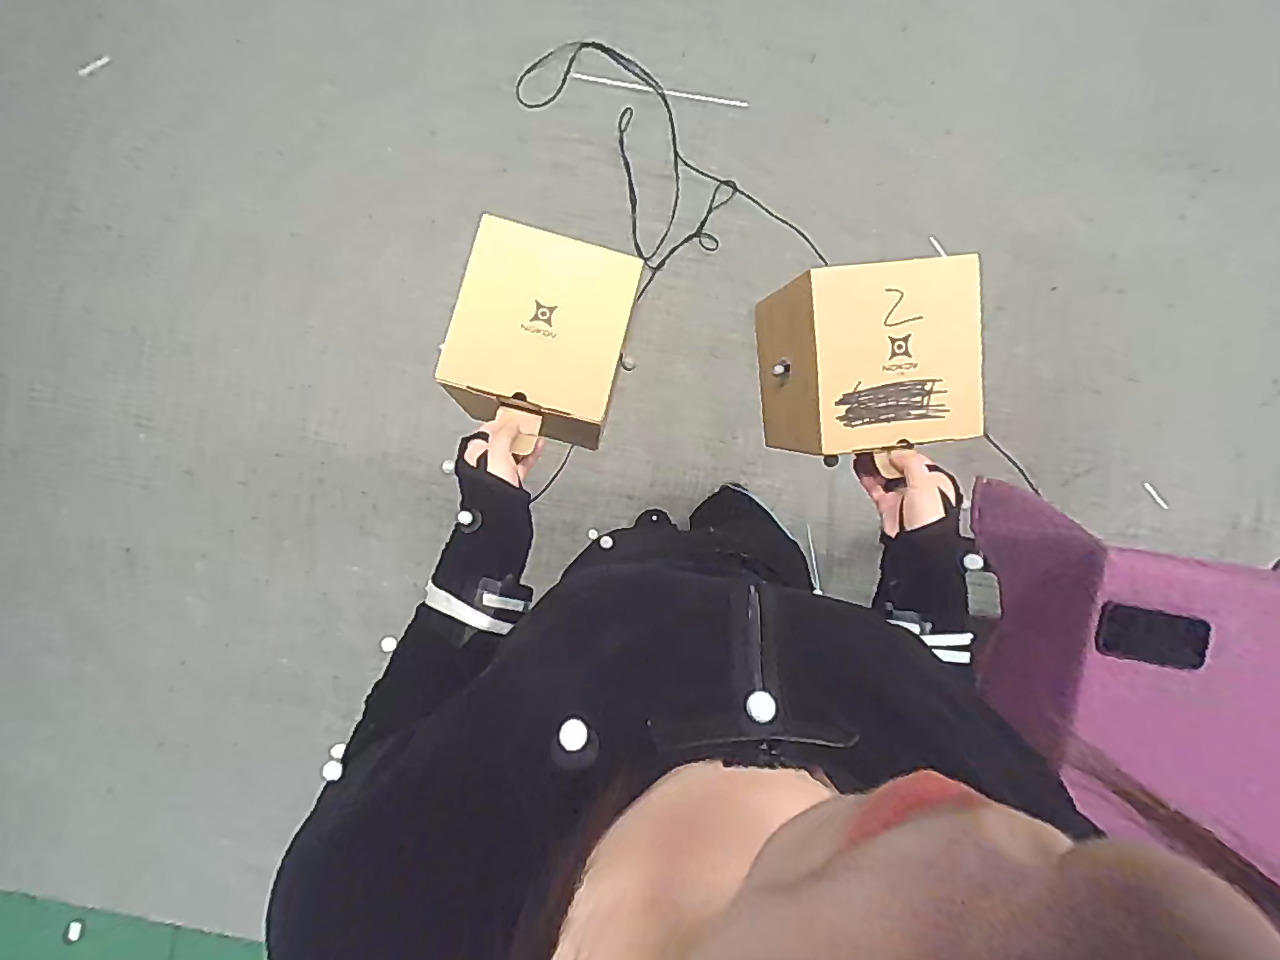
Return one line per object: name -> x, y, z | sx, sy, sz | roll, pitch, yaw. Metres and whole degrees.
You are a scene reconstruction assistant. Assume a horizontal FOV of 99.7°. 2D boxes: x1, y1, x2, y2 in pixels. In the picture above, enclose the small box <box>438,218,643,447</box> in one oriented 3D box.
small box -> -0.104, -0.148, 0.605 | 0.168, 0.176, 0.179 | 14, 84, -5
